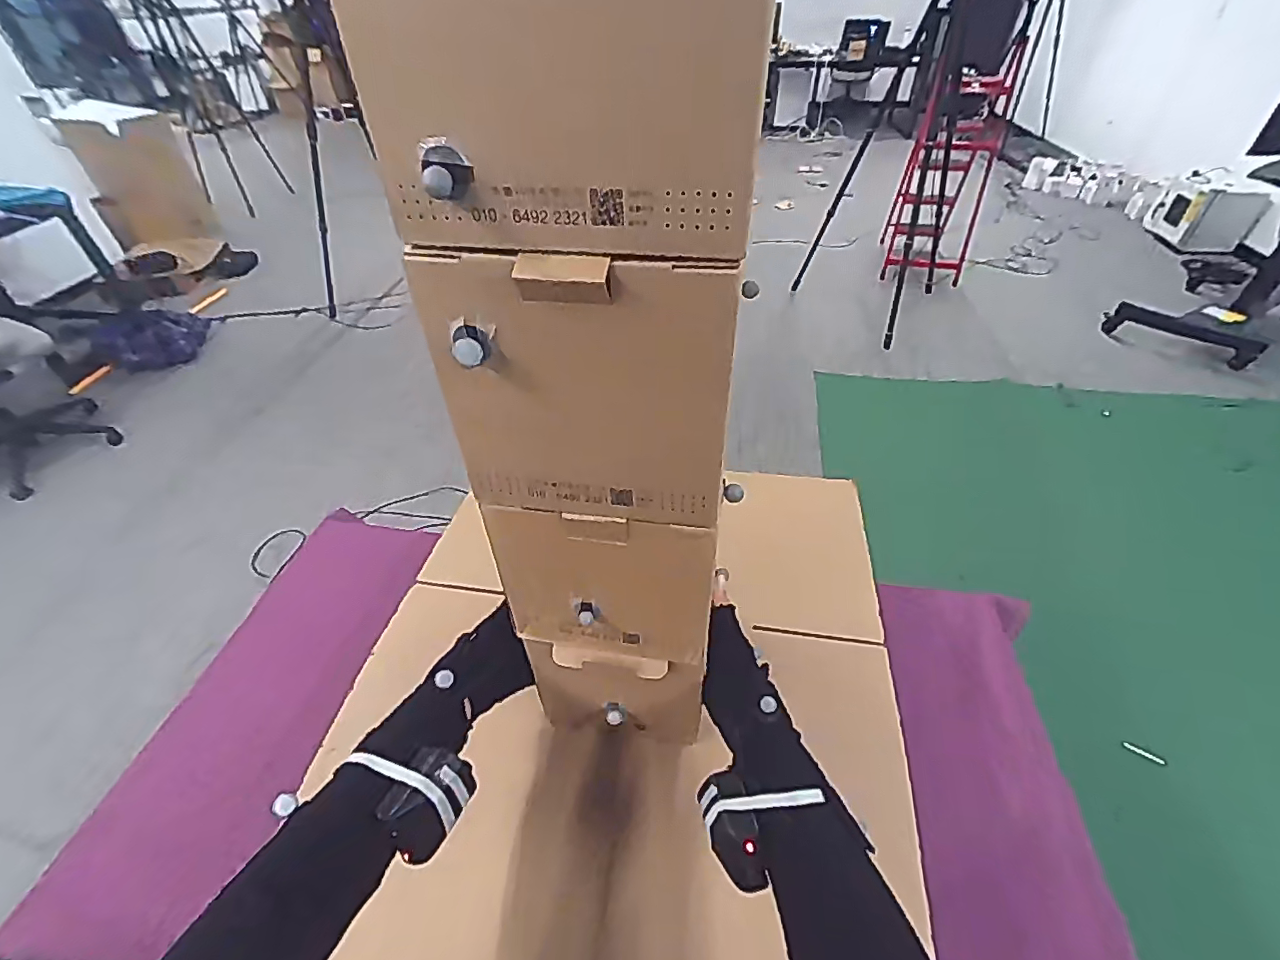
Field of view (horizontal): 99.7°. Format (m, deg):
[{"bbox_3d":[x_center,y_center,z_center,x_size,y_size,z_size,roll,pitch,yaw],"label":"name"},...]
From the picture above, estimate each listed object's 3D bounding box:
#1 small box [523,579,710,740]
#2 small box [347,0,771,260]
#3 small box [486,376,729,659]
[{"bbox_3d":[-0.012,0.151,0.591,0.168,0.176,0.179,5,42,8],"label":"small box"},{"bbox_3d":[-0.021,-0.220,0.267,0.168,0.176,0.179,6,41,8],"label":"small box"},{"bbox_3d":[-0.016,0.029,0.482,0.168,0.176,0.179,6,42,8],"label":"small box"}]
